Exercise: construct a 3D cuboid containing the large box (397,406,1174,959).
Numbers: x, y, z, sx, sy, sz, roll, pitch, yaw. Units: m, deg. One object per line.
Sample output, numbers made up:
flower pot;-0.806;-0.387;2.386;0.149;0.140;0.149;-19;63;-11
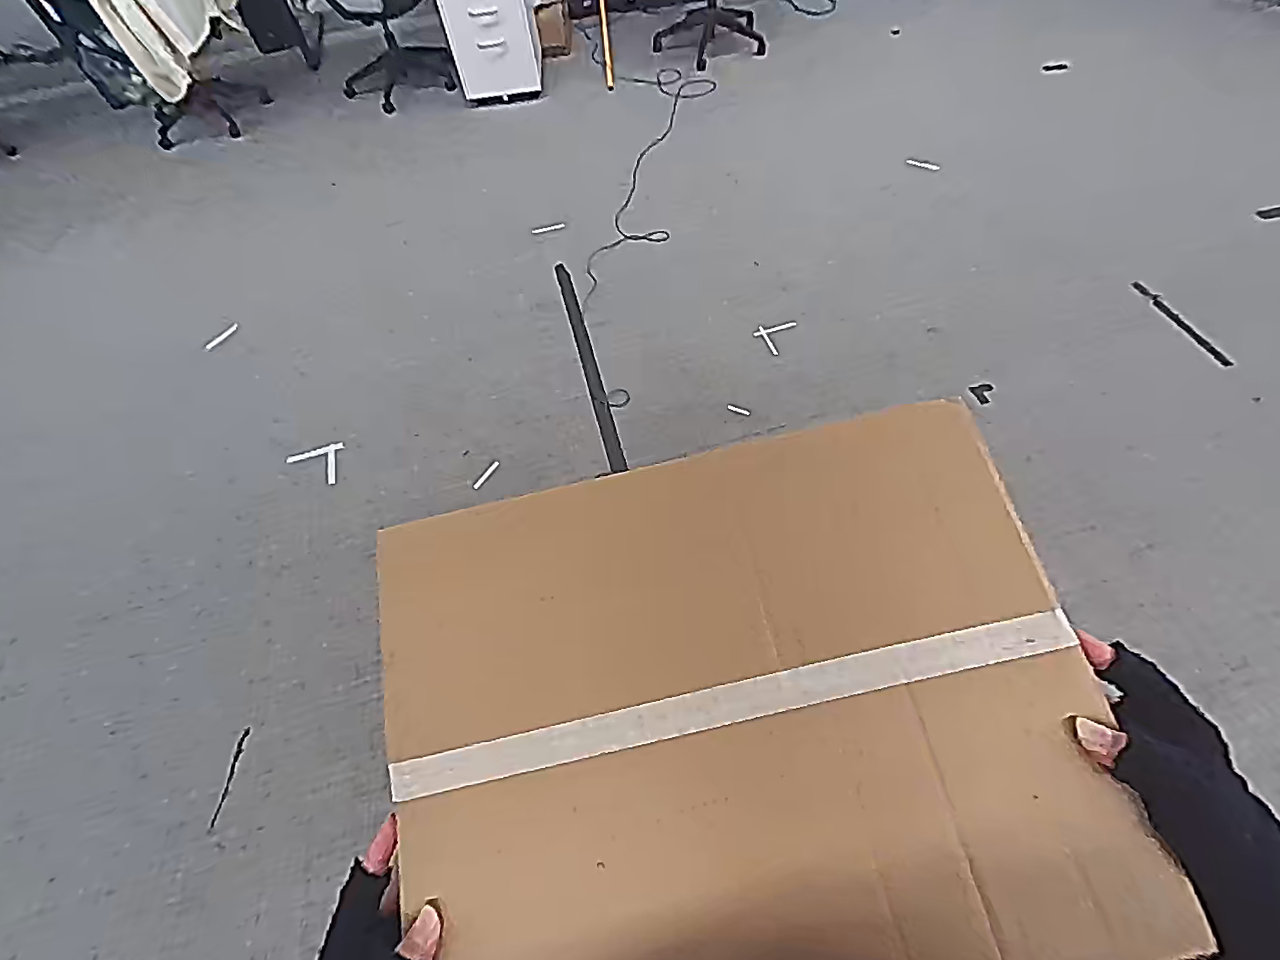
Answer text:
large box;0.065;0.183;0.470;0.408;0.320;0.320;-14;72;1
